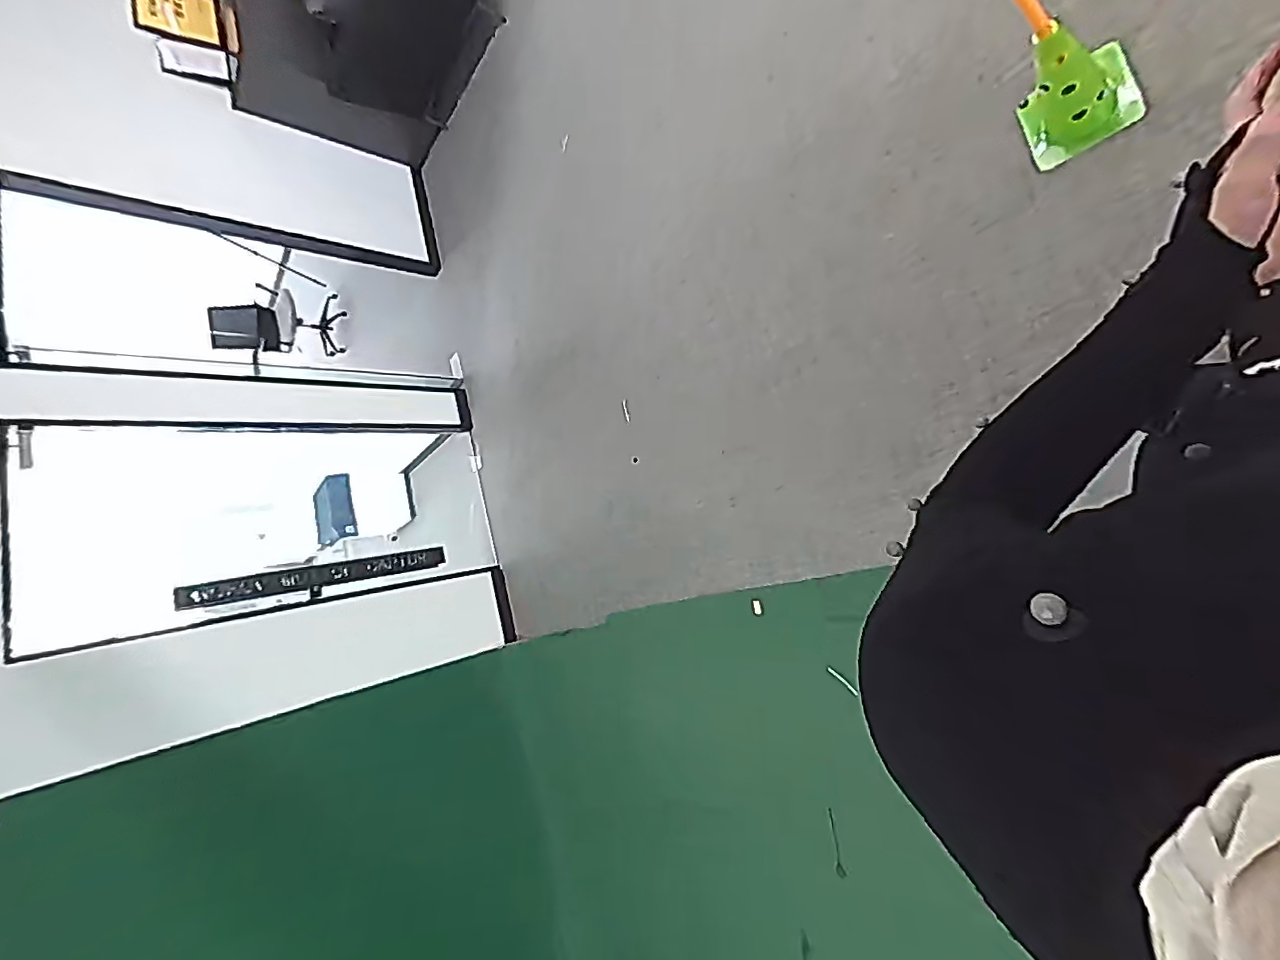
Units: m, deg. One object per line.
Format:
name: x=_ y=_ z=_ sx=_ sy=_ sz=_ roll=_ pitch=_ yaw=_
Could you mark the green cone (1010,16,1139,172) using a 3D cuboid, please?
green cone: x=0.875 y=-0.843 z=1.130 sx=0.202 sy=0.368 sz=0.200 roll=-22 pitch=77 yaw=44
